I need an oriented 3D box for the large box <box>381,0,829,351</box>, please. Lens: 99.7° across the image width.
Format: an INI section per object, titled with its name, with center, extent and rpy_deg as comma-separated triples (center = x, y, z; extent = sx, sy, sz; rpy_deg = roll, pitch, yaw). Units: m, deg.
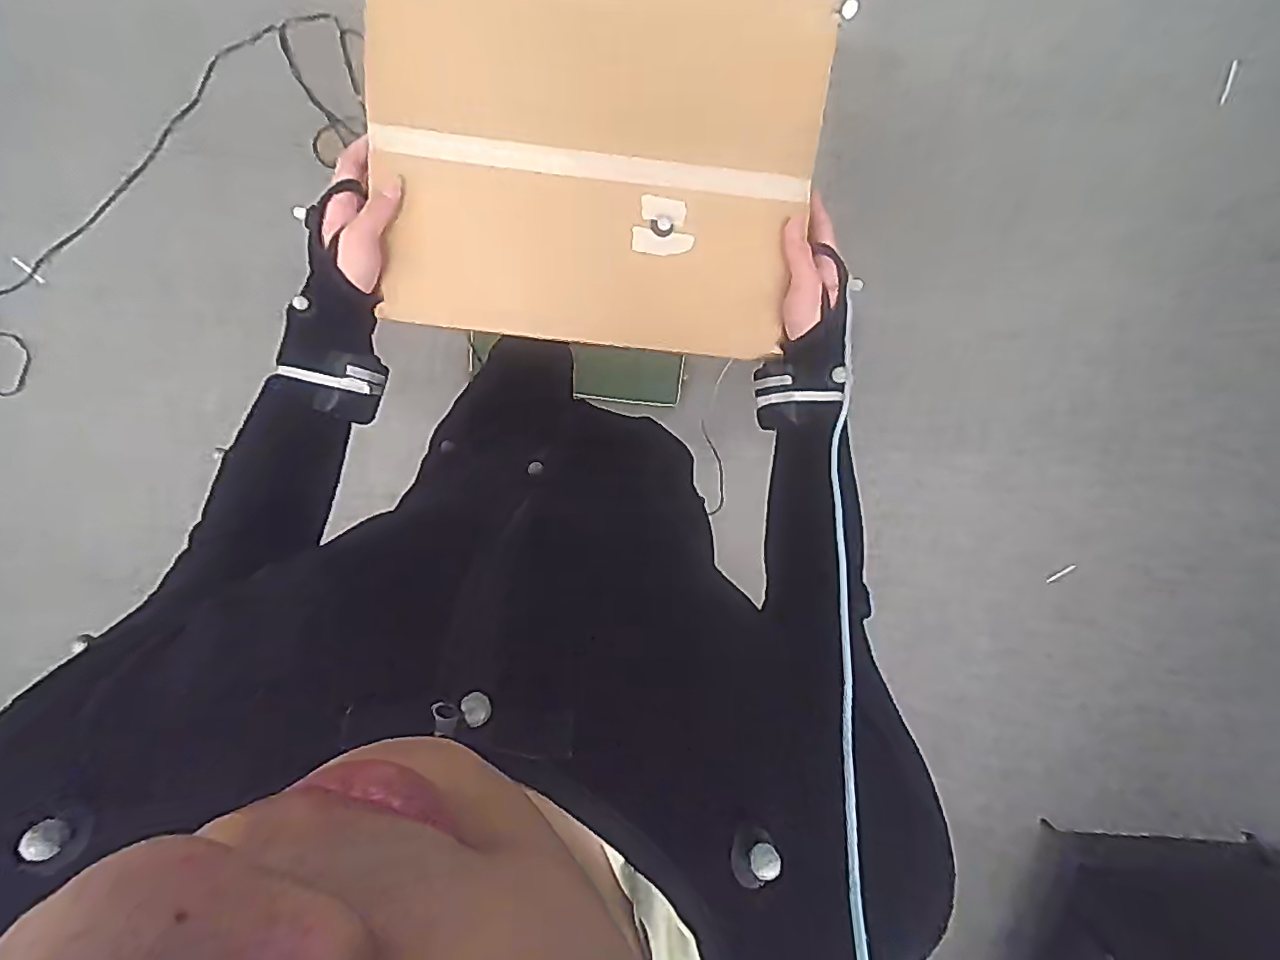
[large box]
center = -0.048, -0.330, 0.652
extent = 0.408, 0.320, 0.320
rpy_deg = 5, 104, -5
